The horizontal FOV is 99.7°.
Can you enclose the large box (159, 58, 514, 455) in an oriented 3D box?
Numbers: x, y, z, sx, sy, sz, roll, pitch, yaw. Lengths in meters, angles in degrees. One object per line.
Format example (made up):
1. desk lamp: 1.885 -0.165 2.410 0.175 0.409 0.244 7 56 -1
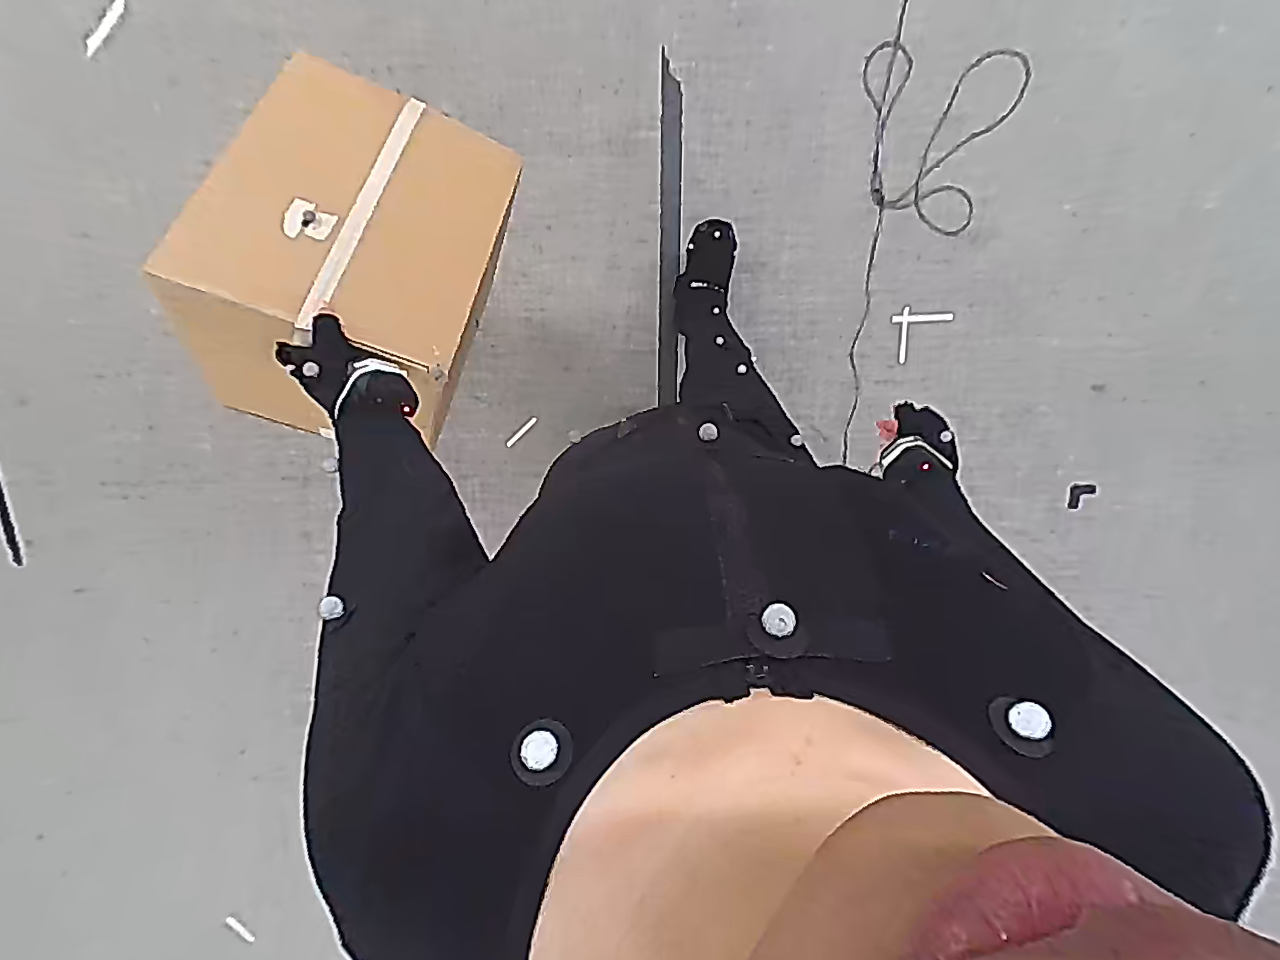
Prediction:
1. large box: -0.416 -0.308 0.834 0.320 0.320 0.408 18 66 -18
